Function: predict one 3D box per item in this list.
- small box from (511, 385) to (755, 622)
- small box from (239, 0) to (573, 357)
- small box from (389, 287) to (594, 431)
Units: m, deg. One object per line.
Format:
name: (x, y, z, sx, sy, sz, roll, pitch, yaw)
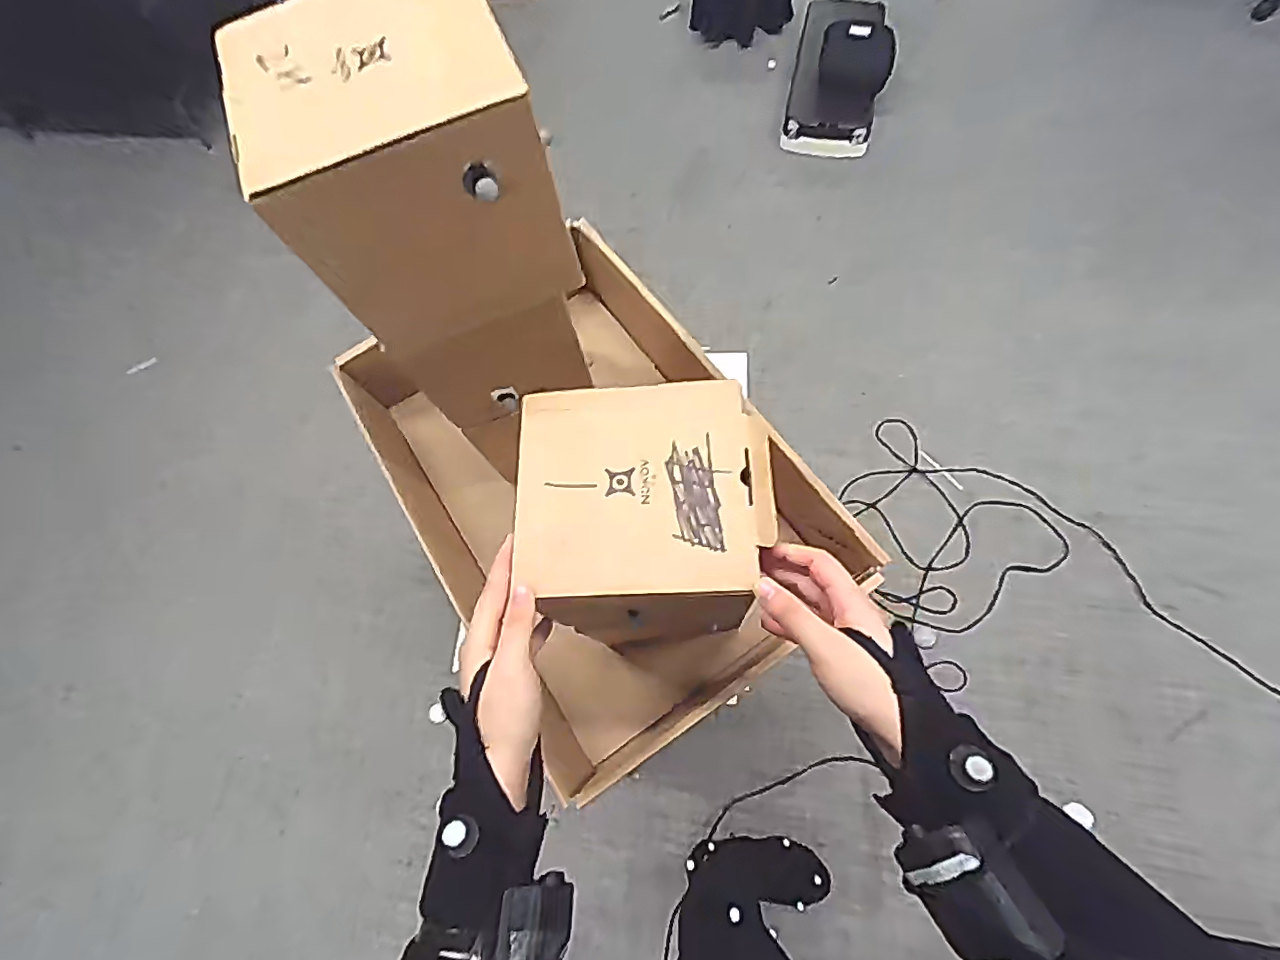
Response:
small box: (0.001, 0.032, 0.483, 0.179, 0.176, 0.168, -3, 68, 6)
small box: (-0.164, -0.230, 0.427, 0.179, 0.176, 0.168, -23, 68, -1)
small box: (-0.161, -0.182, 0.586, 0.168, 0.176, 0.179, -20, 70, 0)
